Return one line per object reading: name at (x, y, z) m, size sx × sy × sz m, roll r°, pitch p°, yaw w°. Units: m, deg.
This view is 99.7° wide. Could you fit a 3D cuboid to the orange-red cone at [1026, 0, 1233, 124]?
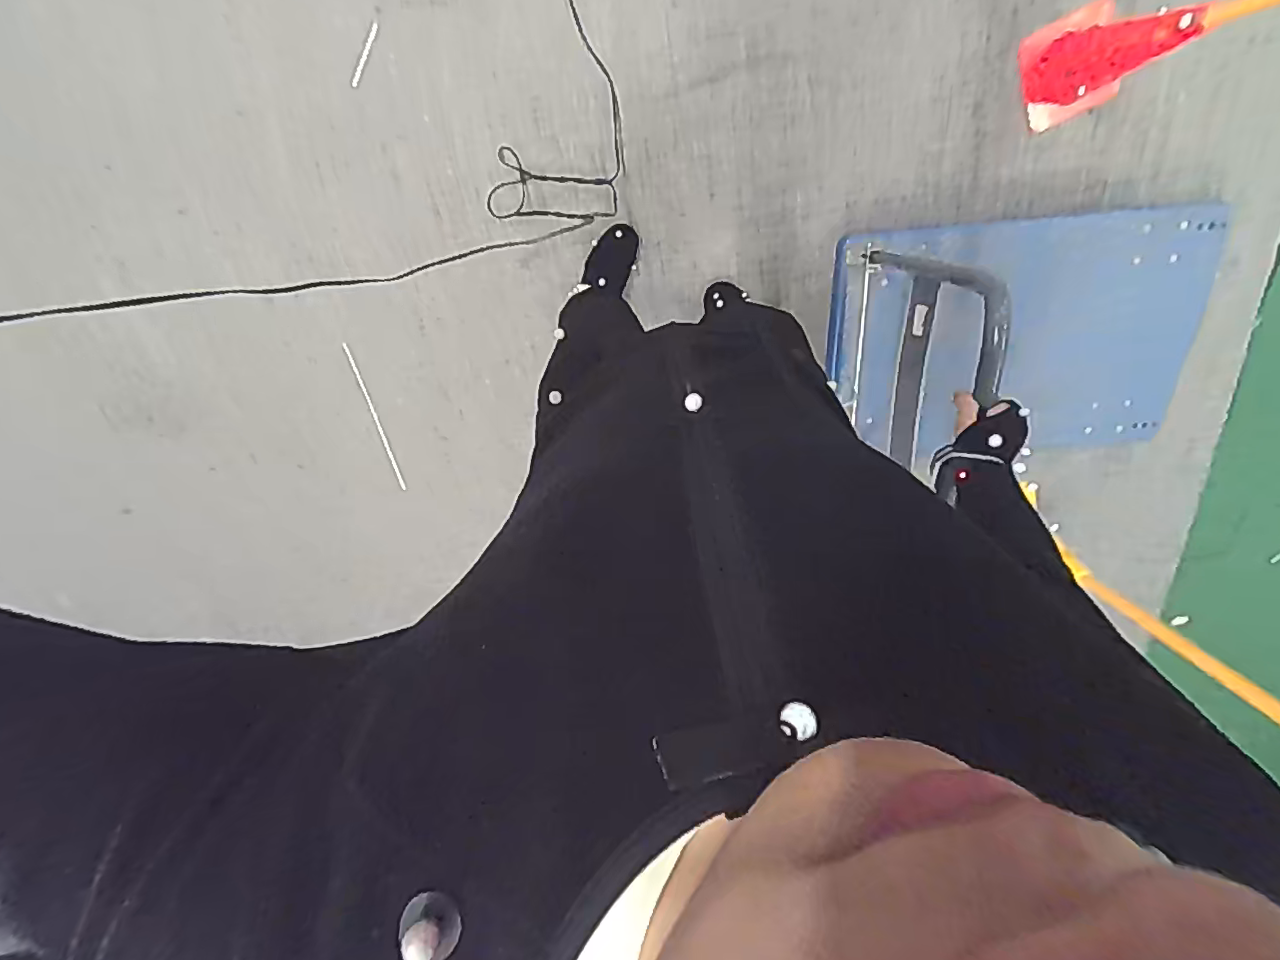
orange-red cone at (0.983, -0.877, 1.072) m, size 0.198 × 0.360 × 0.199 m, roll -22°, pitch 112°, yaw 10°
